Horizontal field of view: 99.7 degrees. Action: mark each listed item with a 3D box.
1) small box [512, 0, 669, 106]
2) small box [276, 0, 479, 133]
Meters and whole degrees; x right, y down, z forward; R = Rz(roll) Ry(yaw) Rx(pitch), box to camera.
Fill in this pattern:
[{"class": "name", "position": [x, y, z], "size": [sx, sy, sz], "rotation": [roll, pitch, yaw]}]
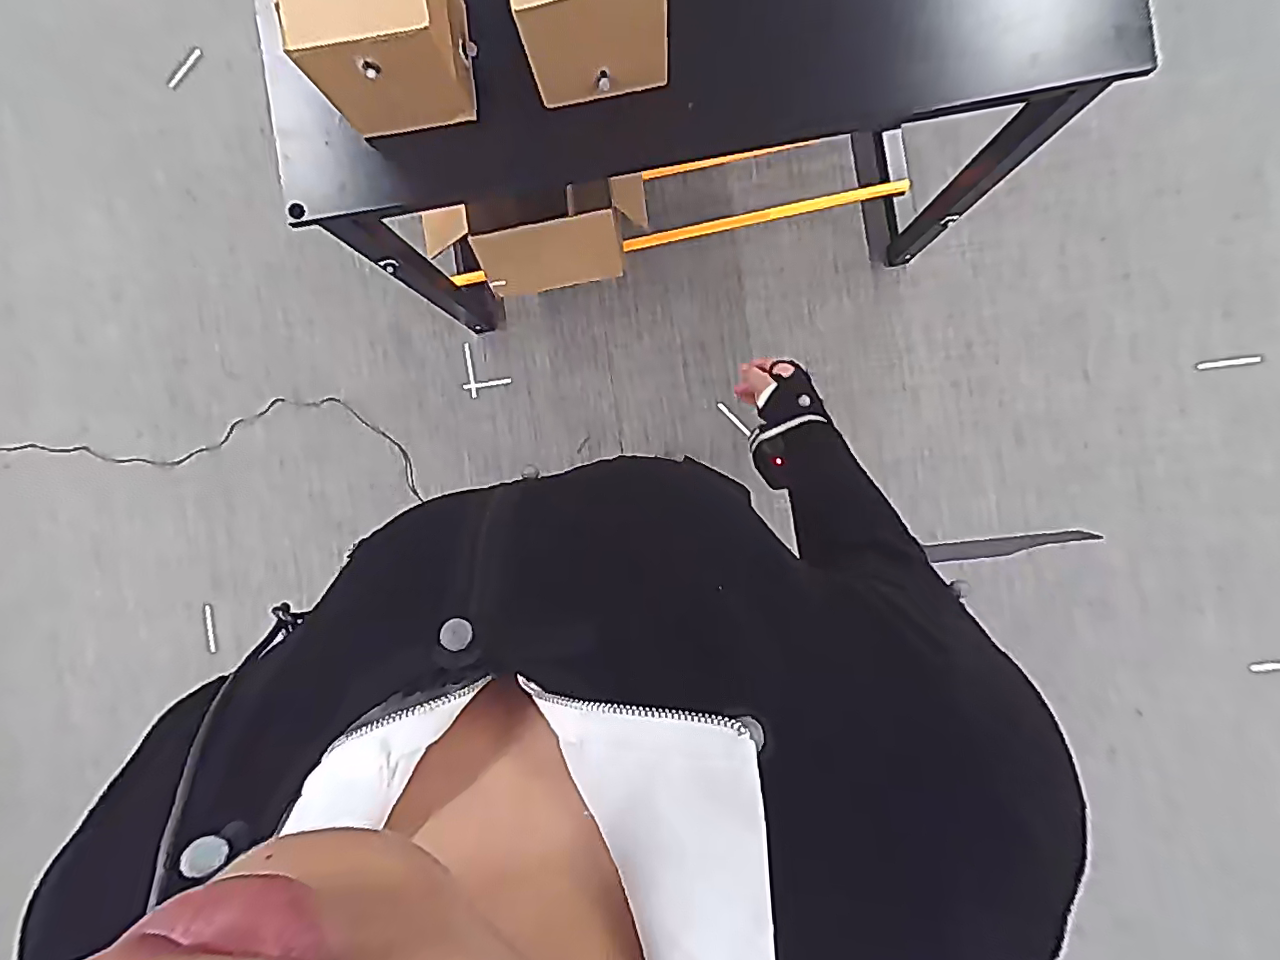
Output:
[{"class": "small box", "position": [-0.064, -0.609, 0.669], "size": [0.179, 0.176, 0.168], "rotation": [-9, 90, 2]}, {"class": "small box", "position": [-0.325, -0.575, 0.684], "size": [0.179, 0.176, 0.168], "rotation": [-8, 92, 2]}]
